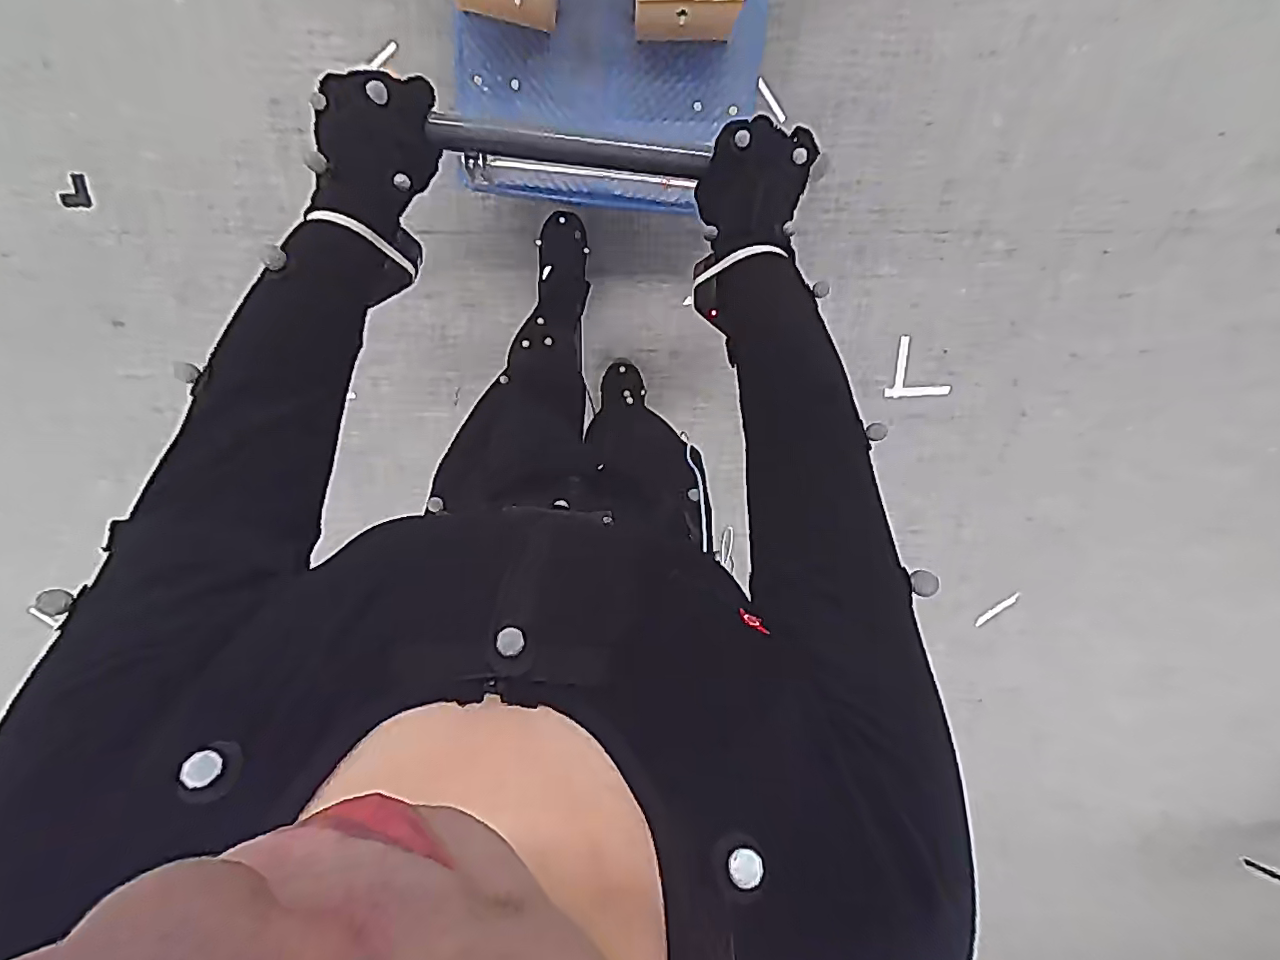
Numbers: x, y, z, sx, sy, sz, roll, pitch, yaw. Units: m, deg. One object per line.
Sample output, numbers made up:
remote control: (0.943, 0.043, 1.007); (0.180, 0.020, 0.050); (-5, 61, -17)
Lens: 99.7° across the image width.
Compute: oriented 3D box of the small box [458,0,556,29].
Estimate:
small box: (-0.228, -0.886, 0.887); (0.179, 0.176, 0.168); (10, 111, -7)

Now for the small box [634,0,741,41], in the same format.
small box: (0.077, -0.863, 0.903); (0.179, 0.176, 0.168); (0, 113, -1)
